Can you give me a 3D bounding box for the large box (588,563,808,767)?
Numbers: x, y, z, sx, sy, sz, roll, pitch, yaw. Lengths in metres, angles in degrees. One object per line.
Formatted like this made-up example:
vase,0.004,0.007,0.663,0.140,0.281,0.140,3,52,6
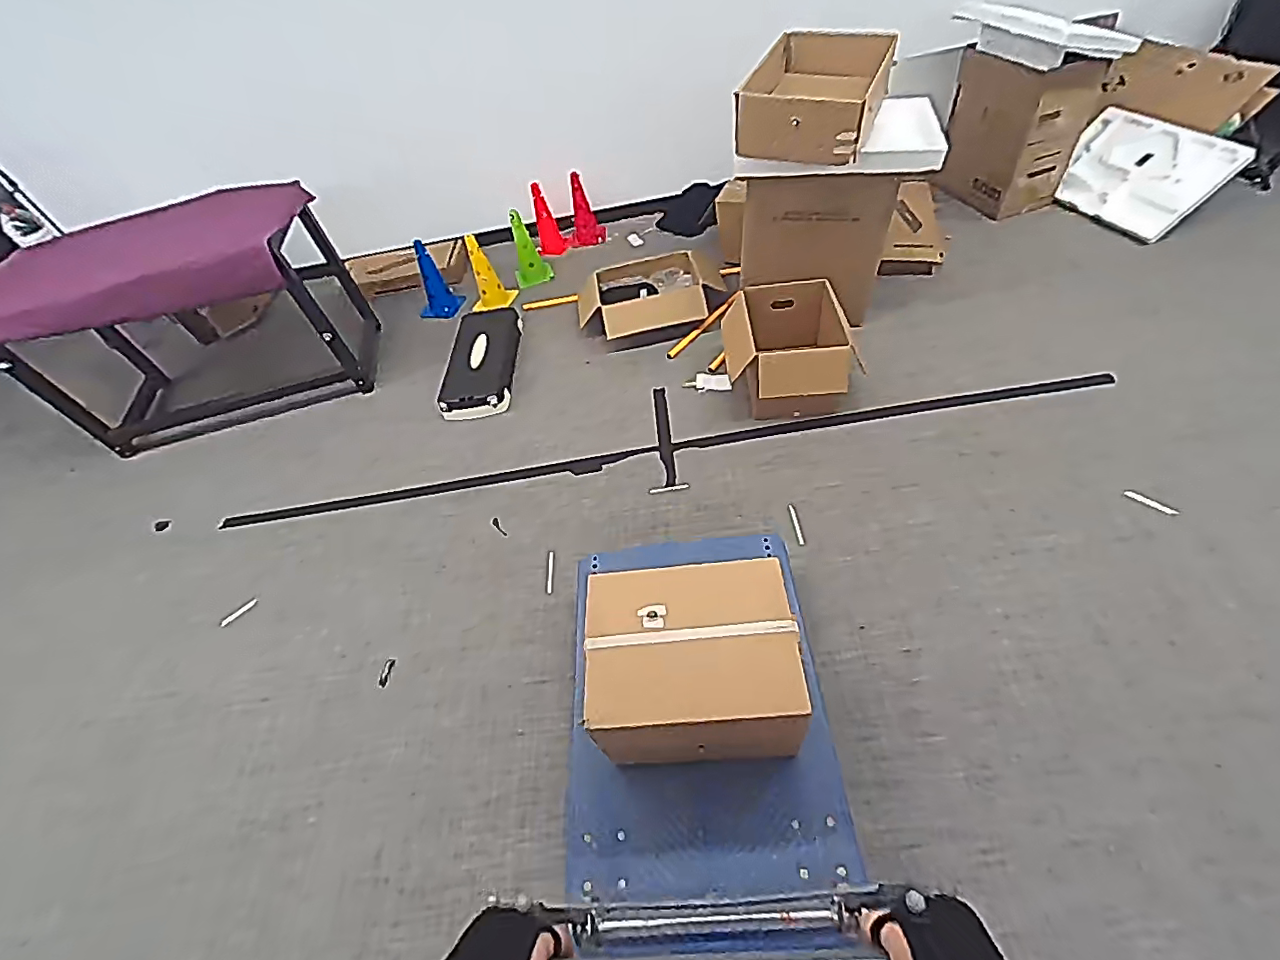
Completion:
large box,0.119,0.411,1.173,0.408,0.320,0.320,-8,50,6
